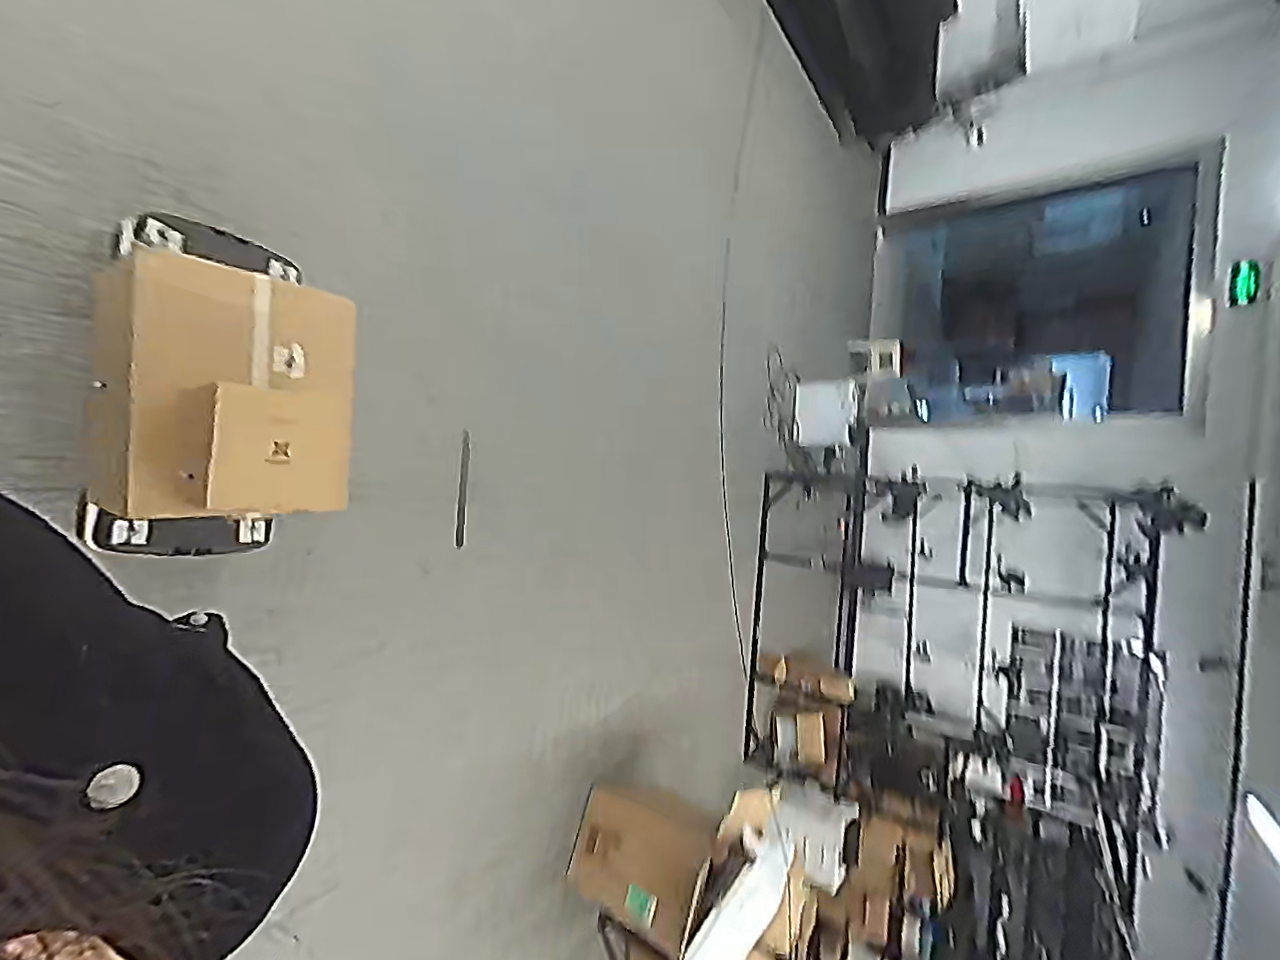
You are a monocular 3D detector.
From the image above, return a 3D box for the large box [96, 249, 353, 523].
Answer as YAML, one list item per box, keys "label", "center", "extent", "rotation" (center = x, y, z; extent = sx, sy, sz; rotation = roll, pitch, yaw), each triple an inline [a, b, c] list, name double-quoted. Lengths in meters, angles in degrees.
- label: "large box"
  center: [-0.754, -0.138, 0.987]
  extent: [0.320, 0.320, 0.408]
  rotation: [1, 91, -54]

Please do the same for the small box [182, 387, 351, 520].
- label: "small box"
  center: [-0.572, -0.036, 0.828]
  extent: [0.168, 0.176, 0.179]
  rotation: [7, 86, -53]
